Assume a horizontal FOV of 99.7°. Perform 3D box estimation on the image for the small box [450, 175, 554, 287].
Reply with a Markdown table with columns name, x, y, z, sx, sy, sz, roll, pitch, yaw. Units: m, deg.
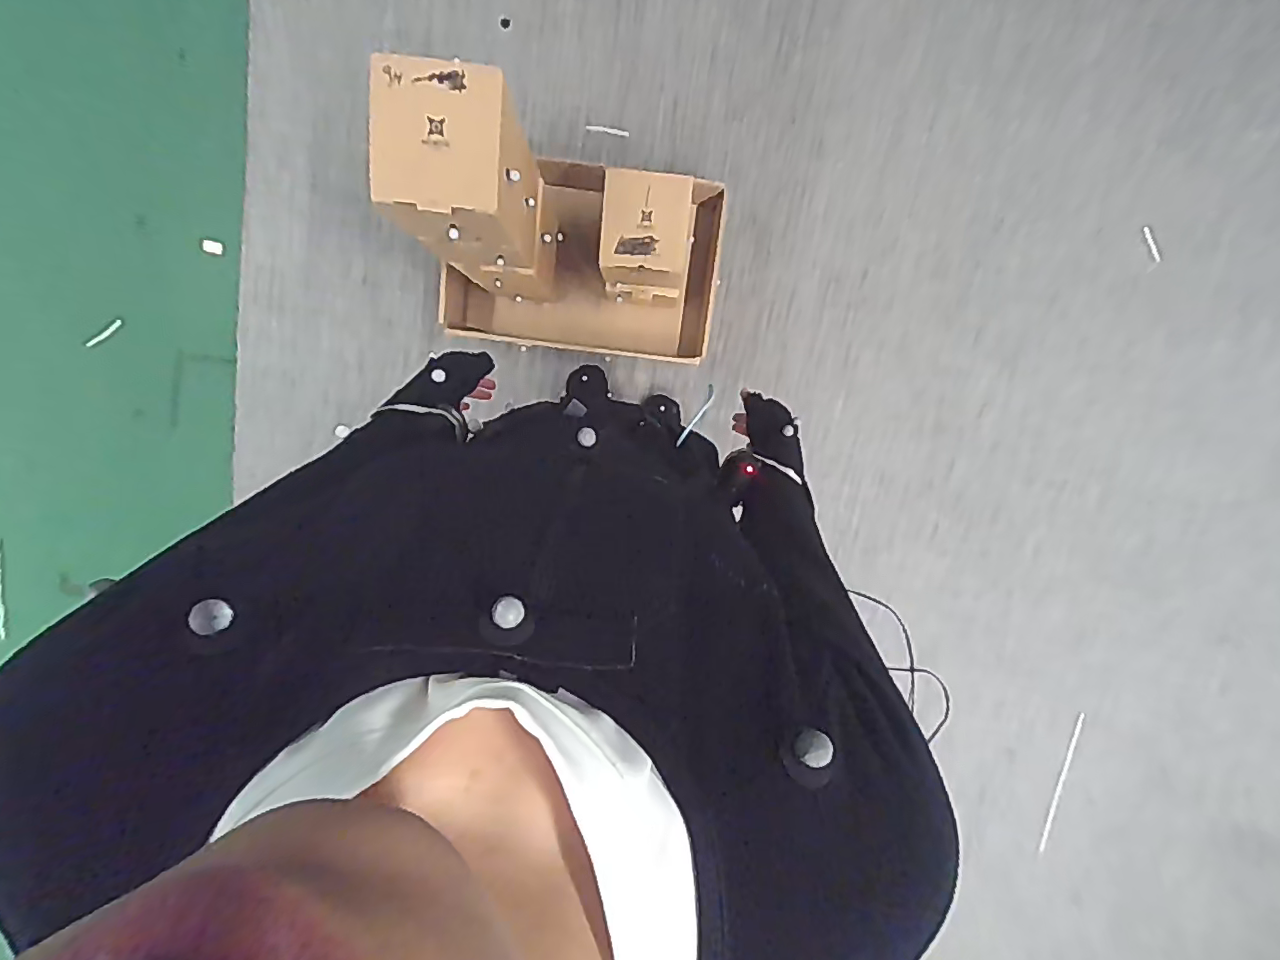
| name | x | y | z | sx | sy | sz | roll | pitch | yaw |
| --- | --- | --- | --- | --- | --- | --- | --- | --- | --- |
| small box | -0.268 | -0.501 | 1.084 | 0.168 | 0.176 | 0.179 | 7 | 100 | -3 |

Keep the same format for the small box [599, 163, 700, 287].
| name | x | y | z | sx | sy | sz | roll | pitch | yaw |
| --- | --- | --- | --- | --- | --- | --- | --- | --- | --- |
| small box | 0.017 | -0.496 | 1.081 | 0.168 | 0.176 | 0.179 | 9 | 100 | -3 |

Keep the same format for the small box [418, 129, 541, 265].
| name | x | y | z | sx | sy | sz | roll | pitch | yaw |
| --- | --- | --- | --- | --- | --- | --- | --- | --- | --- |
| small box | -0.265 | -0.478 | 0.922 | 0.168 | 0.176 | 0.179 | 5 | 100 | -3 |

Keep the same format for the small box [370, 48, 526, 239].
| name | x | y | z | sx | sy | sz | roll | pitch | yaw |
| --- | --- | --- | --- | --- | --- | --- | --- | --- | --- |
| small box | -0.259 | -0.453 | 0.760 | 0.168 | 0.176 | 0.179 | 5 | 101 | -4 |
